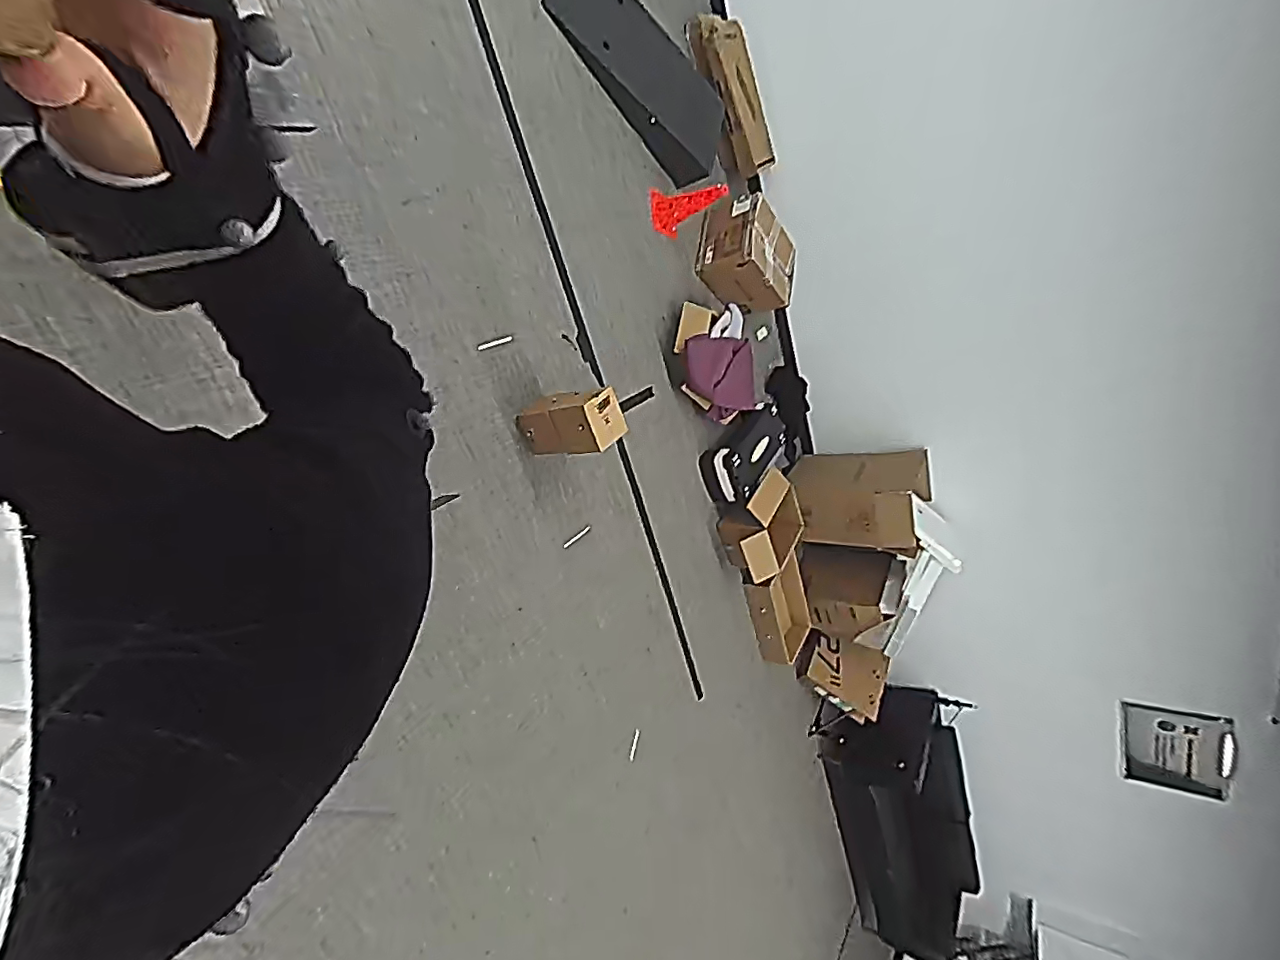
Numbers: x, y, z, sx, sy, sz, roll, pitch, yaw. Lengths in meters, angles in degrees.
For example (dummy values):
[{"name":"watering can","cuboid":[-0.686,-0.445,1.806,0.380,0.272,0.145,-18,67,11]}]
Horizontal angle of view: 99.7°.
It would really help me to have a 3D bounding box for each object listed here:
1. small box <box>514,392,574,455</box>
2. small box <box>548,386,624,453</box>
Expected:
[{"name":"small box","cuboid":[-0.322,-0.204,1.966,0.179,0.176,0.168,-45,122,-41]},{"name":"small box","cuboid":[-0.189,-0.204,1.867,0.168,0.176,0.179,-43,122,-43]}]
